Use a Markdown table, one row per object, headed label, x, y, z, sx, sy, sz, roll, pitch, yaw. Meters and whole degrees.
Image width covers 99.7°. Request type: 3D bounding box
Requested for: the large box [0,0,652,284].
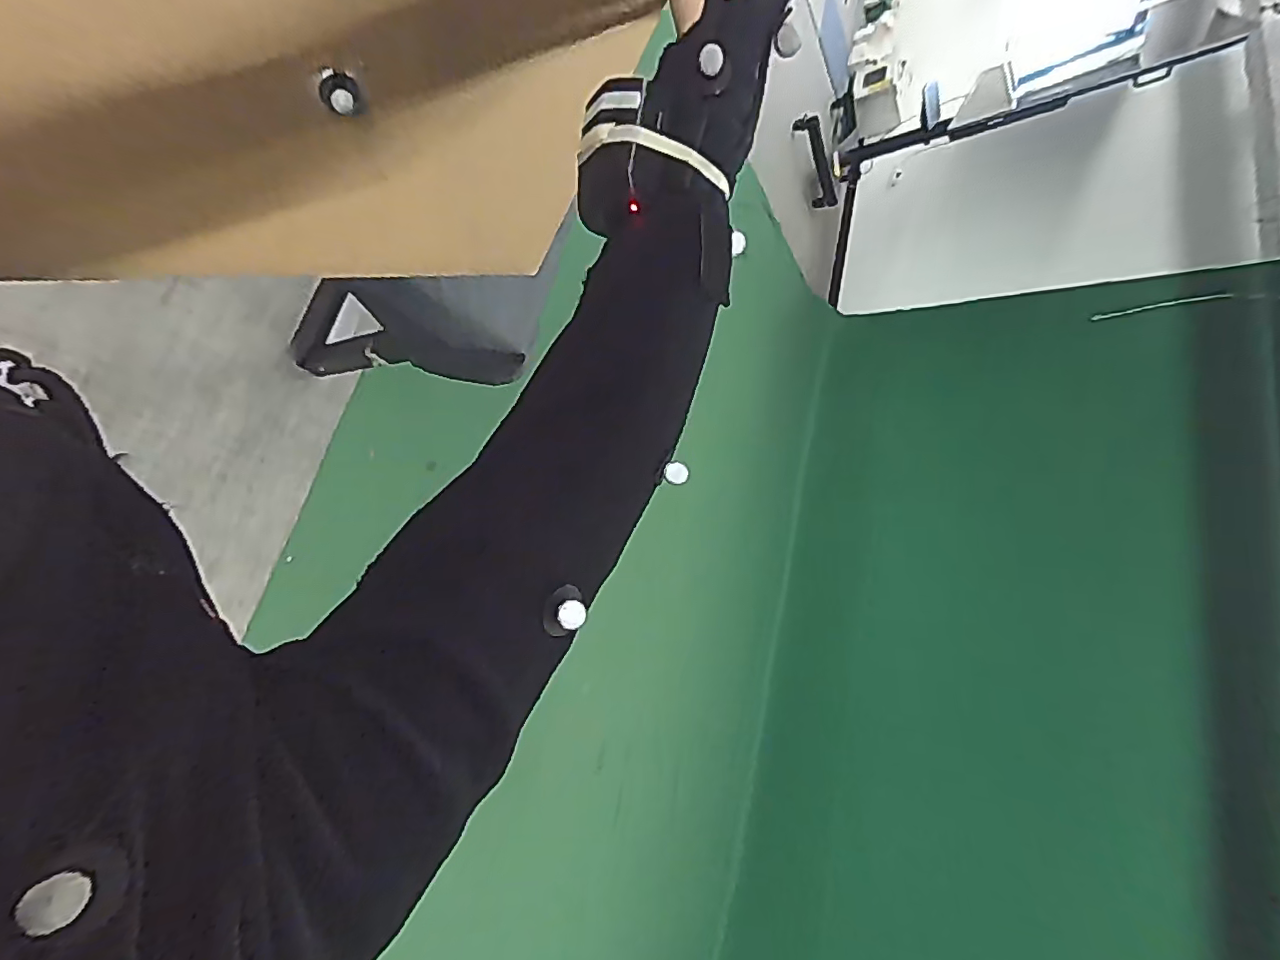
| label | x | y | z | sx | sy | sz | roll | pitch | yaw |
| --- | --- | --- | --- | --- | --- | --- | --- | --- | --- |
| large box | -0.248 | -0.355 | 0.333 | 0.408 | 0.320 | 0.320 | -23 | 75 | -41 |
